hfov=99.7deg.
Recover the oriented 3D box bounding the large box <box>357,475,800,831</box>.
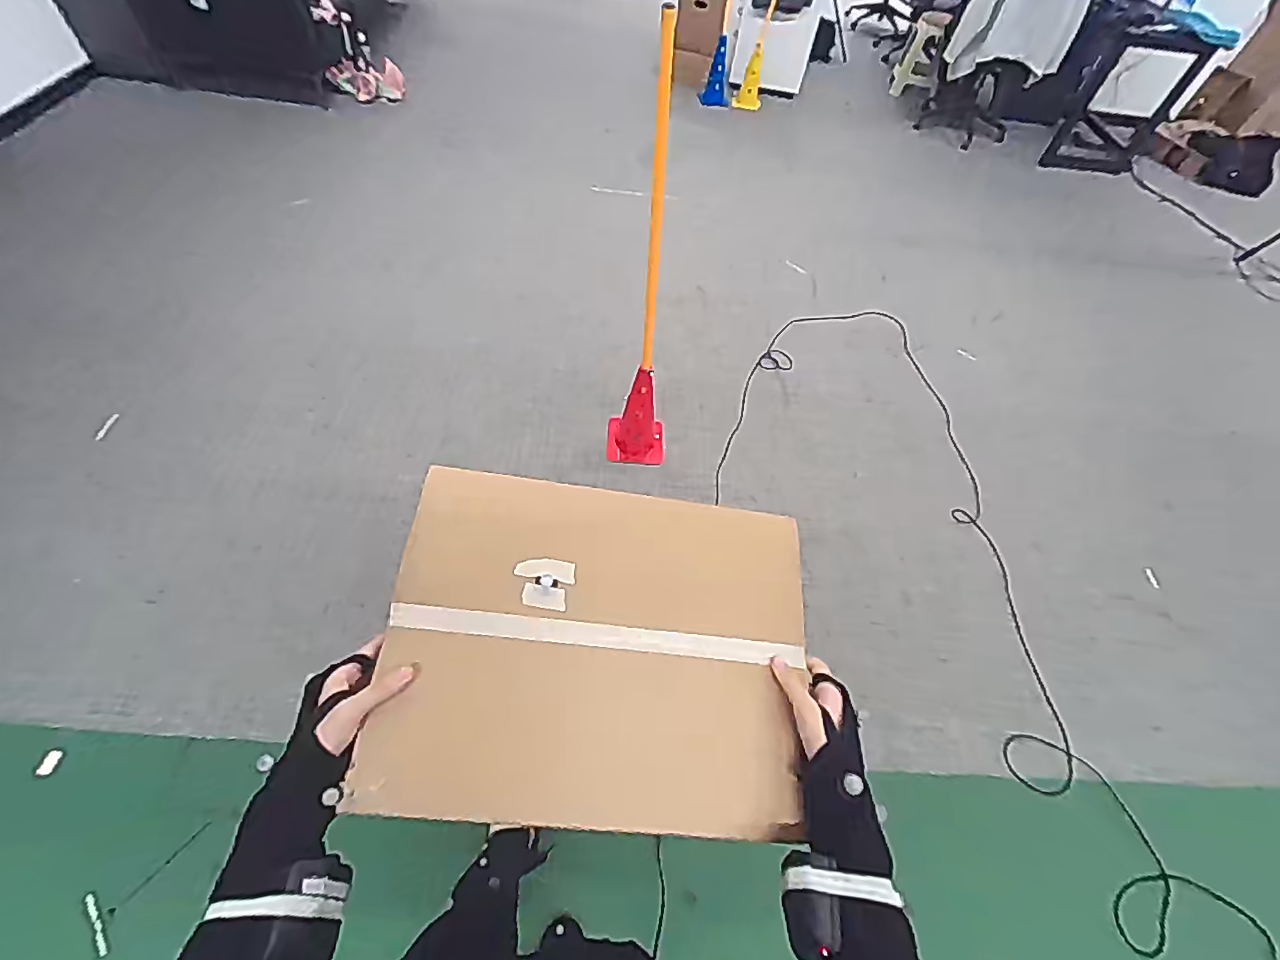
[{"bbox_3d":[-0.056,0.217,0.674,0.408,0.320,0.320,9,64,-6],"label":"large box"}]
